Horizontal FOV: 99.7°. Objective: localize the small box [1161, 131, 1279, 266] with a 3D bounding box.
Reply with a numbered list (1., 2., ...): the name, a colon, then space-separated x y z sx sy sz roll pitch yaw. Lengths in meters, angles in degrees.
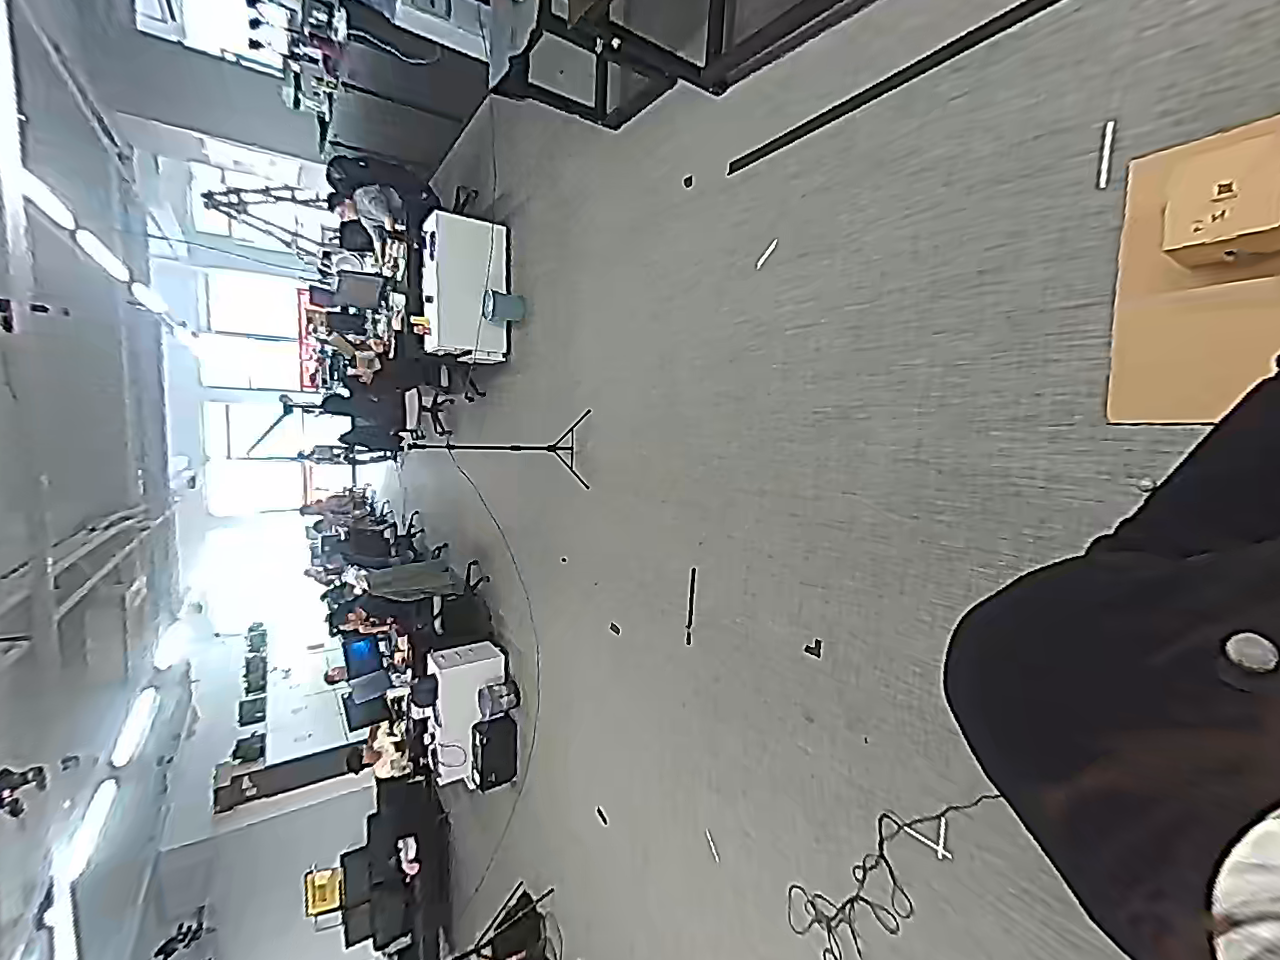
1. small box: 1.171 -0.544 1.066 0.168 0.176 0.179 8 99 56
